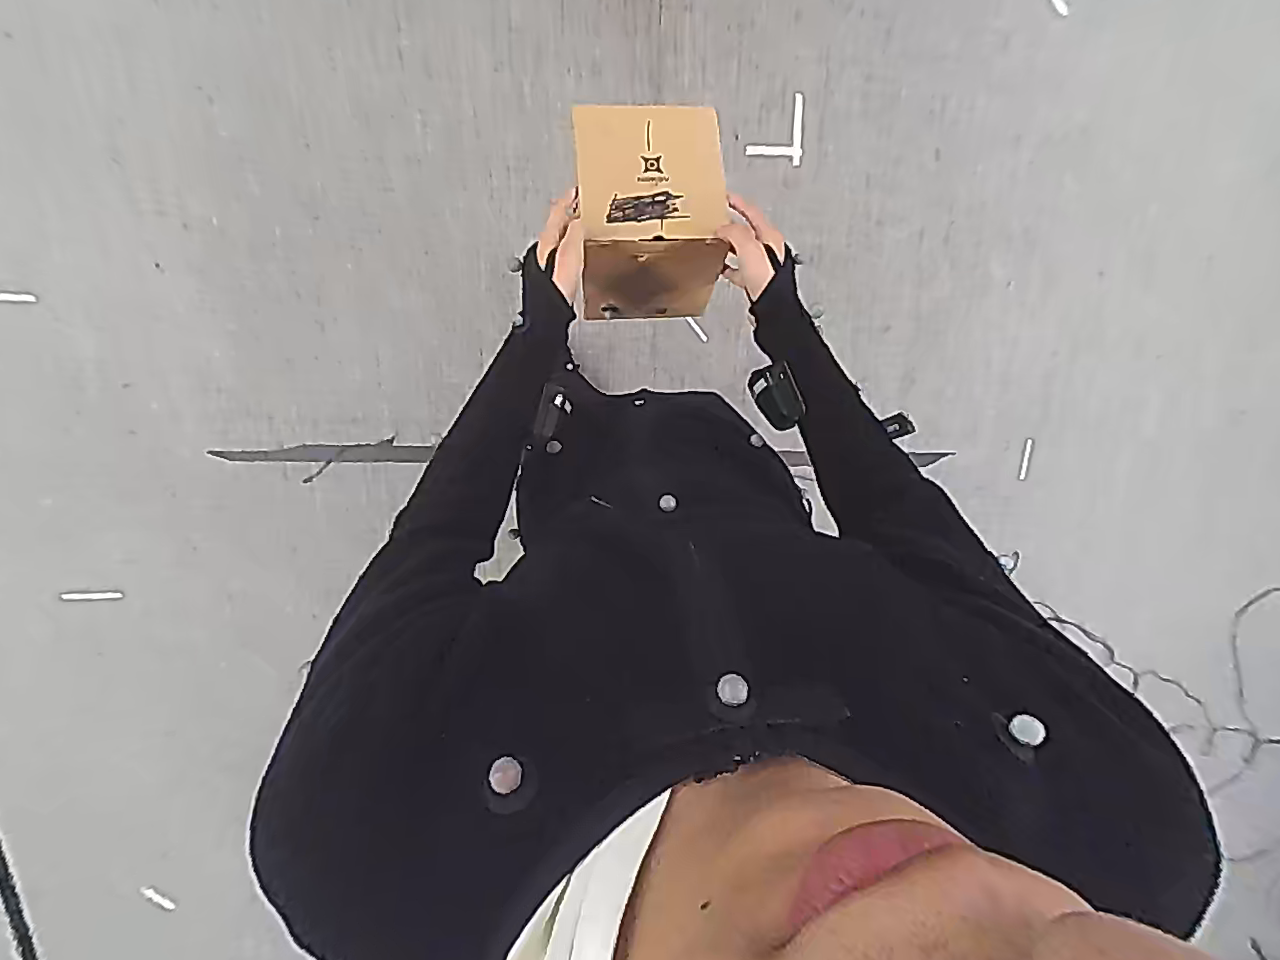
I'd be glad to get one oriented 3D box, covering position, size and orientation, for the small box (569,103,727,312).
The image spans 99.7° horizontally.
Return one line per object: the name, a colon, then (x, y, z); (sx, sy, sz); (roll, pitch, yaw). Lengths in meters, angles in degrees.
small box: (0.002, -0.322, 0.668); (0.168, 0.176, 0.179); (-4, 78, -6)
